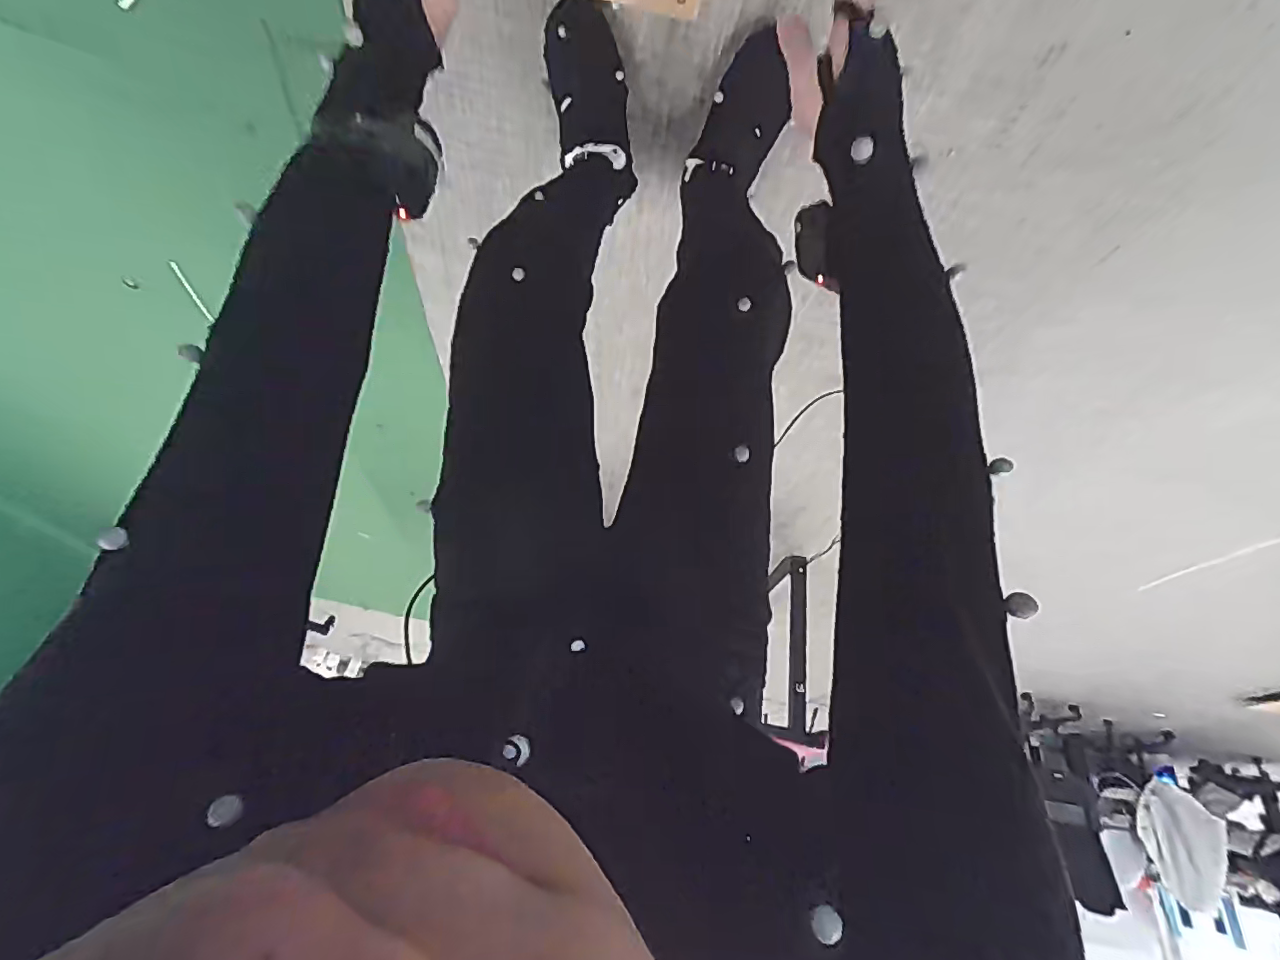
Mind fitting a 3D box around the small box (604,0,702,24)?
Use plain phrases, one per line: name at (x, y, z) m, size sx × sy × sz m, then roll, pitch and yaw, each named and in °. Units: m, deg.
small box at (0.013, -0.668, 0.606) m, size 0.168 × 0.176 × 0.179 m, roll 13°, pitch 149°, yaw -2°
